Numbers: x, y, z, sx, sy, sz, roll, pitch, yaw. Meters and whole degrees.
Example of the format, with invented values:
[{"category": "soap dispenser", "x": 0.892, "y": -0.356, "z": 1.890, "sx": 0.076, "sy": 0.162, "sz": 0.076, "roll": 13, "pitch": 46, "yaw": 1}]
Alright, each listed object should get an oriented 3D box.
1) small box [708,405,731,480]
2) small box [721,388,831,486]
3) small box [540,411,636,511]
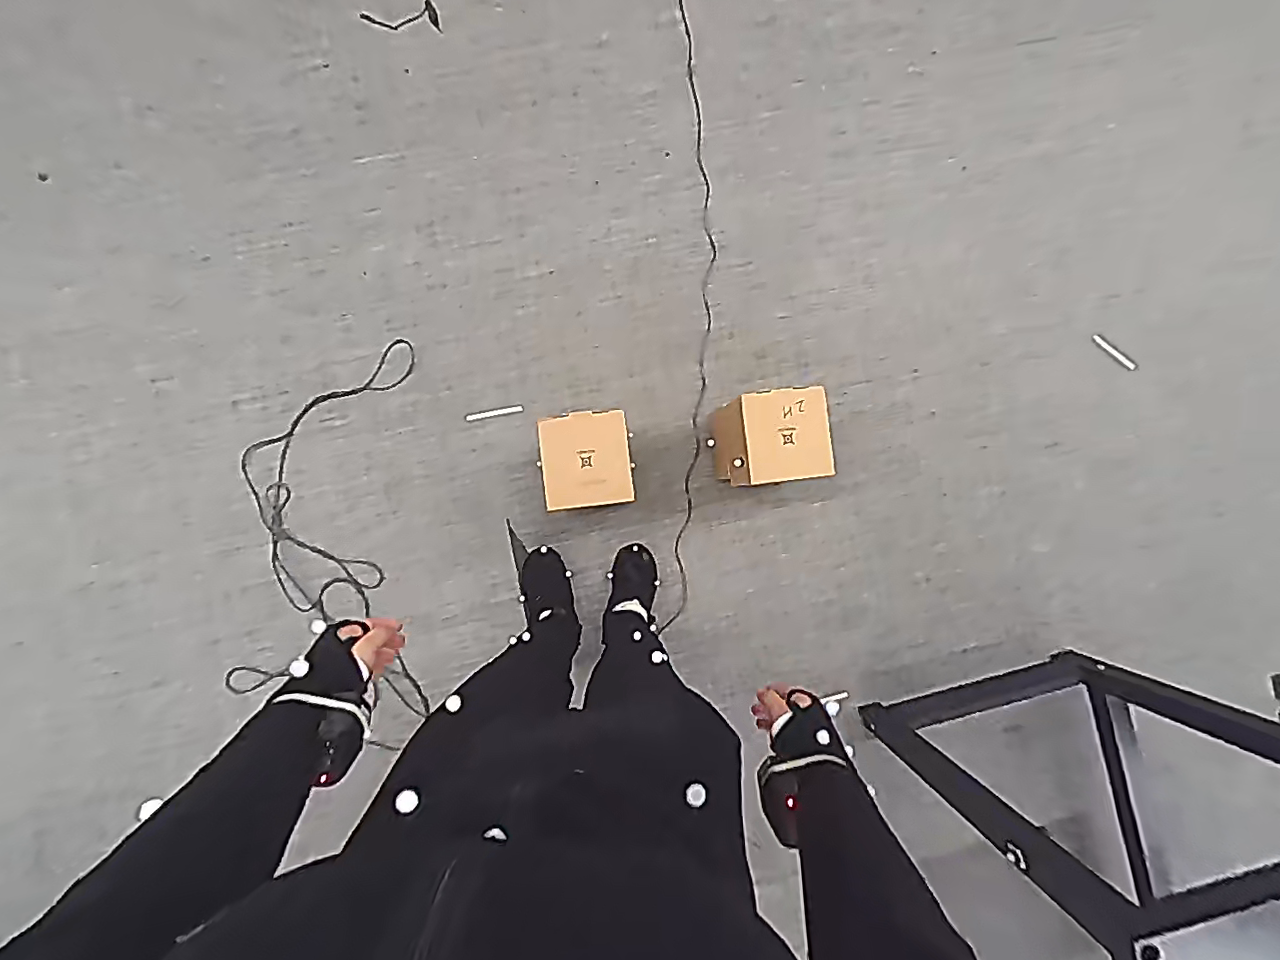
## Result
[{"category": "small box", "x": 0.267, "y": -0.088, "z": 1.278, "sx": 0.179, "sy": 0.176, "sz": 0.168, "roll": -4, "pitch": 88, "yaw": -3}, {"category": "small box", "x": 0.273, "y": -0.082, "z": 1.113, "sx": 0.168, "sy": 0.176, "sz": 0.179, "roll": -7, "pitch": 88, "yaw": -5}, {"category": "small box", "x": -0.103, "y": -0.034, "z": 1.093, "sx": 0.168, "sy": 0.176, "sz": 0.179, "roll": -7, "pitch": 90, "yaw": -3}]
